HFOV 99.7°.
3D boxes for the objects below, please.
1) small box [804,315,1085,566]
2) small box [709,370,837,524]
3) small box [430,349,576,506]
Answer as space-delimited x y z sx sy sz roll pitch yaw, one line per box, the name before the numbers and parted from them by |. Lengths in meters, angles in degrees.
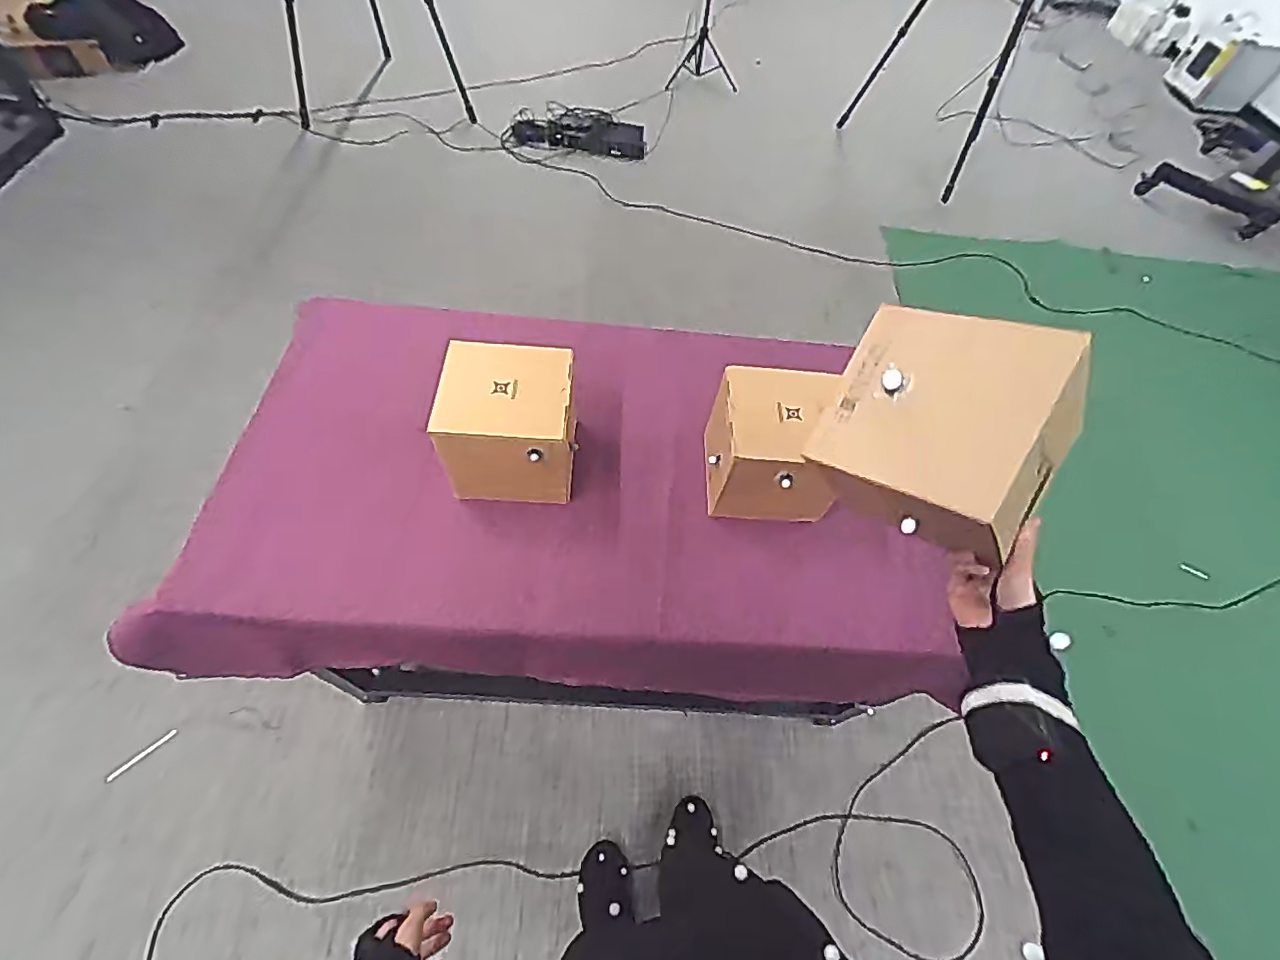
small box | 0.291 -0.042 0.523 0.176 0.179 0.168 25 86 43
small box | 0.202 -0.044 0.821 0.179 0.176 0.168 4 58 -3
small box | -0.189 -0.072 0.803 0.179 0.176 0.168 3 57 -5
